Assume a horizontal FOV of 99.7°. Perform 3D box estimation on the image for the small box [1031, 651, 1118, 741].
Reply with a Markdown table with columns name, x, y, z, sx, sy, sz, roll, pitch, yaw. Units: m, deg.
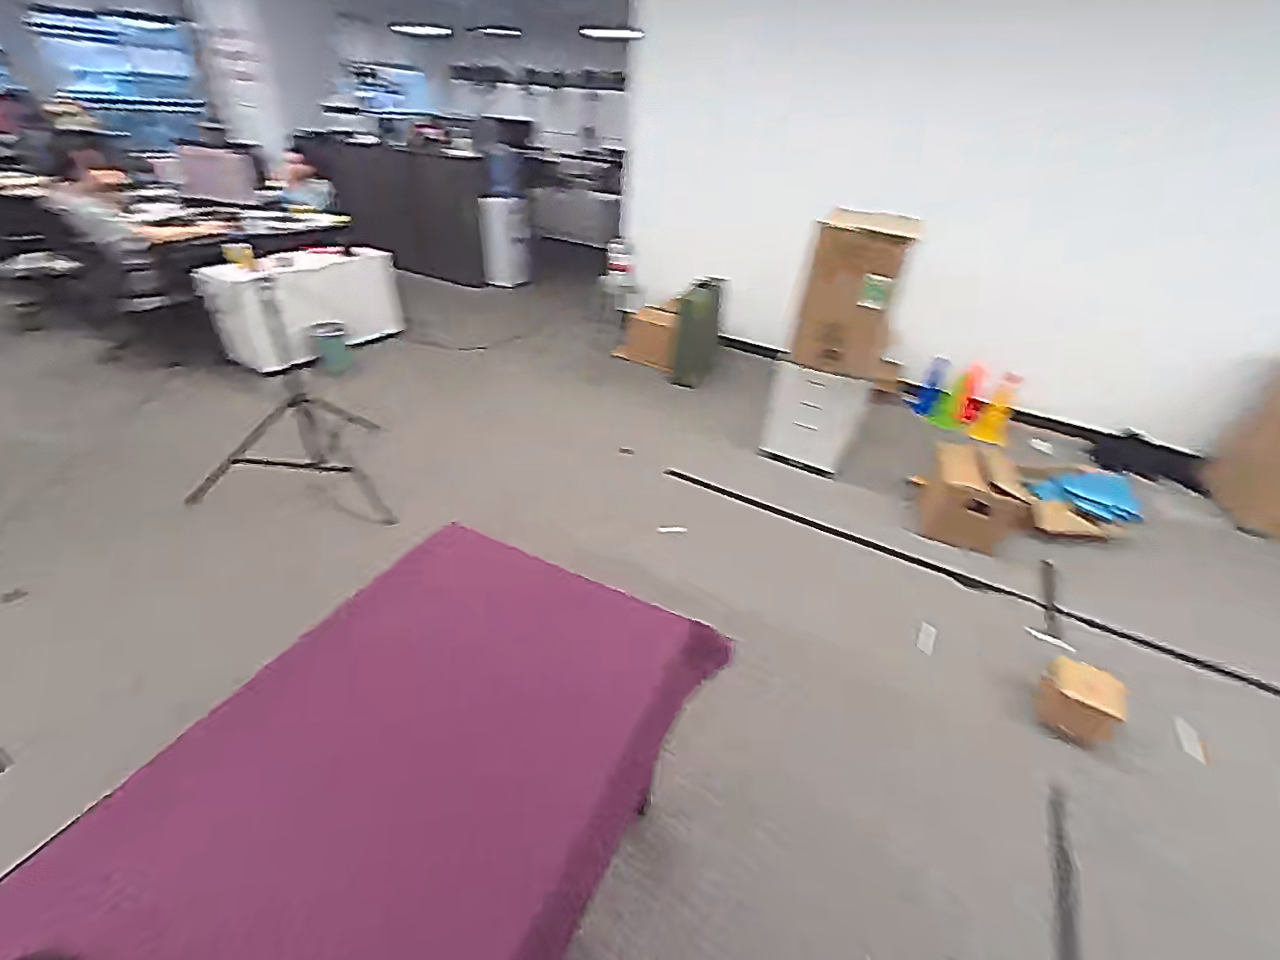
| name | x | y | z | sx | sy | sz | roll | pitch | yaw |
| --- | --- | --- | --- | --- | --- | --- | --- | --- | --- |
| small box | 1.404 | 0.703 | 1.762 | 0.168 | 0.176 | 0.179 | 20 | 38 | 23 |
